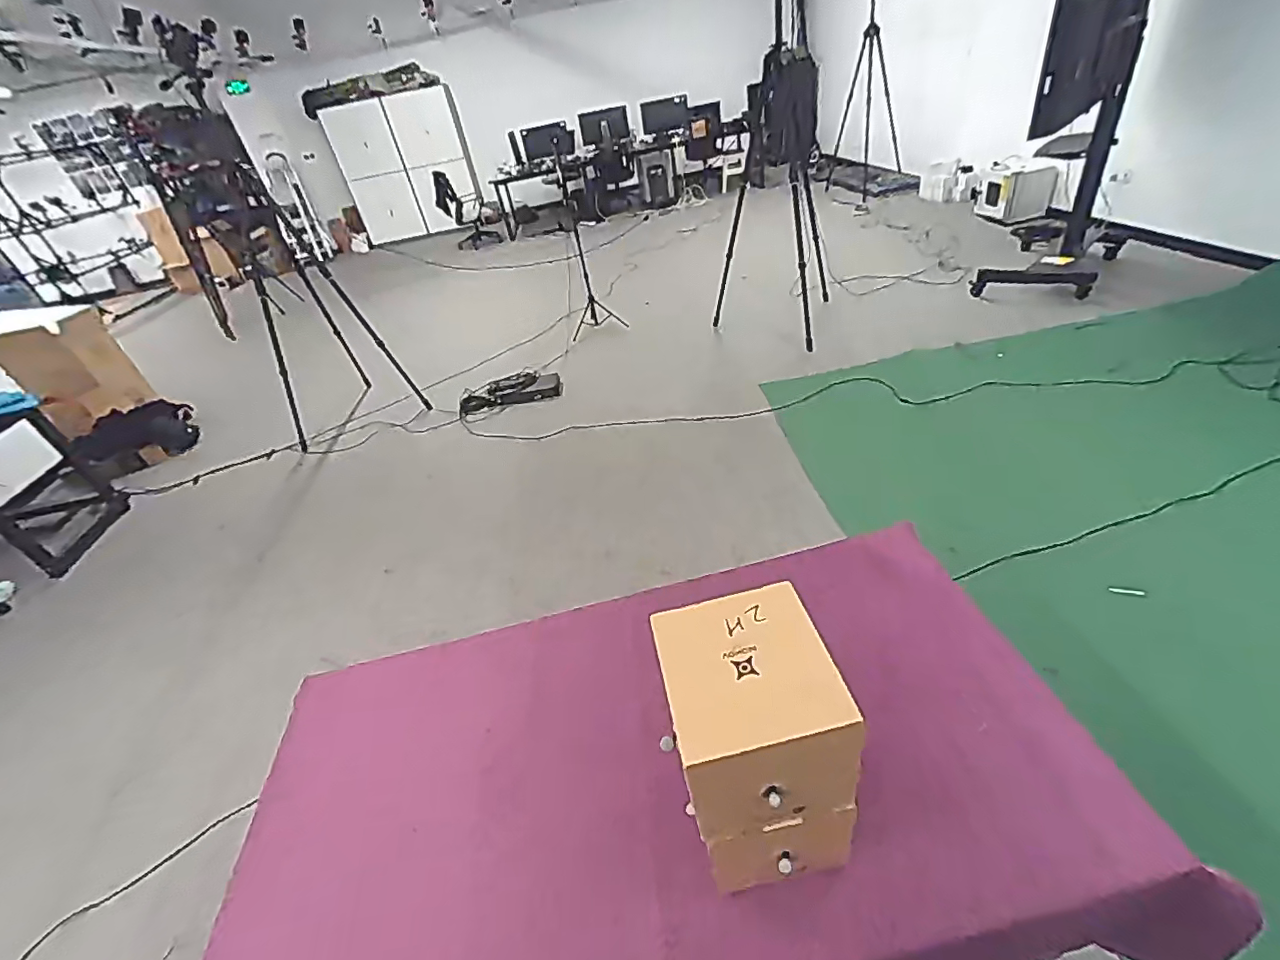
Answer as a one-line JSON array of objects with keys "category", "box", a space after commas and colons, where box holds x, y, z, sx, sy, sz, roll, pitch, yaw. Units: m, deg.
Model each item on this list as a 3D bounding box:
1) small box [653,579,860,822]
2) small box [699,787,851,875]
[{"category": "small box", "box": [0.119, 0.242, 0.589, 0.168, 0.176, 0.179, -13, 37, -2]}, {"category": "small box", "box": [0.150, 0.371, 0.688, 0.168, 0.176, 0.179, -13, 38, -1]}]
